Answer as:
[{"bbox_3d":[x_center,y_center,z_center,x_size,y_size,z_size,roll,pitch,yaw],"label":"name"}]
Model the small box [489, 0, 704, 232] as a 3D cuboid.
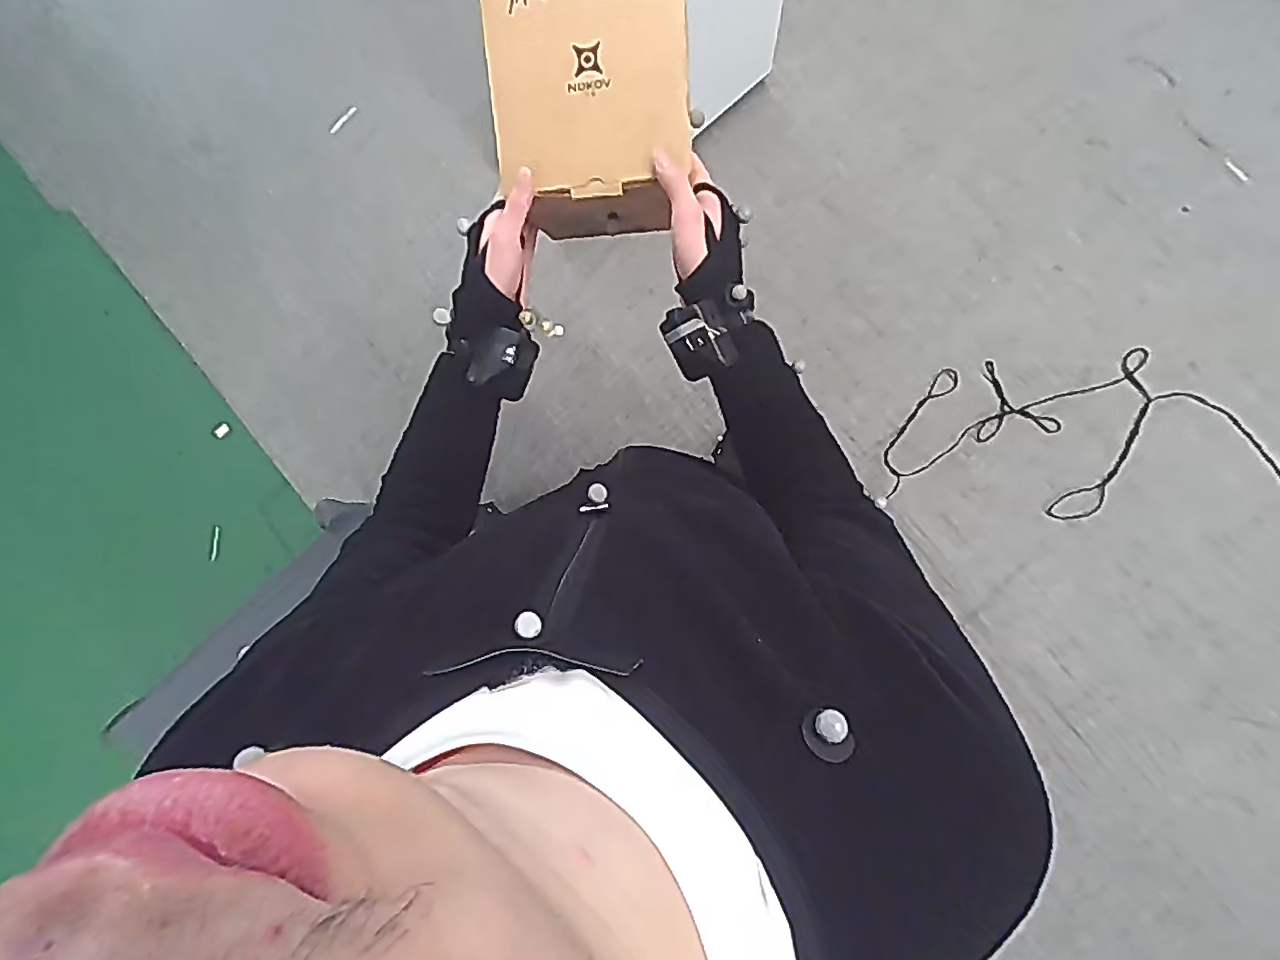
[{"bbox_3d":[-0.026,-0.353,0.522,0.168,0.176,0.179,-5,101,8],"label":"small box"}]
